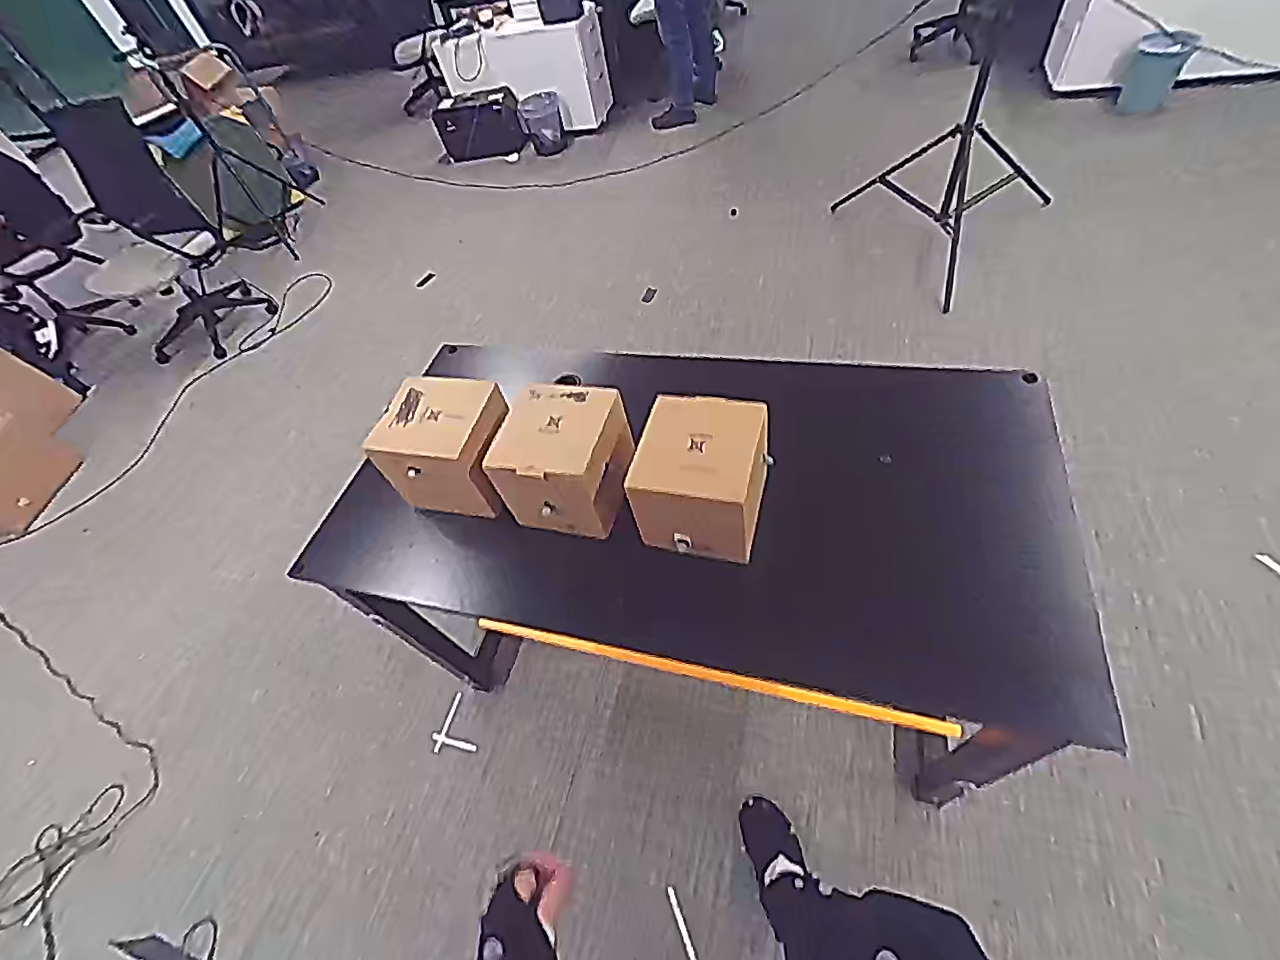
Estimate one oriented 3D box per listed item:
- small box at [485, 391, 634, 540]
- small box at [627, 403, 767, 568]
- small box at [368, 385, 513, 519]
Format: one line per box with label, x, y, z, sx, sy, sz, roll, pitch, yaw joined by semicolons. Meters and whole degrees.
small box;-0.118;-0.022;0.885;0.168;0.176;0.179;7;56;18
small box;0.096;0.008;0.818;0.168;0.176;0.179;7;56;19
small box;-0.322;-0.047;0.948;0.179;0.176;0.168;6;55;15
